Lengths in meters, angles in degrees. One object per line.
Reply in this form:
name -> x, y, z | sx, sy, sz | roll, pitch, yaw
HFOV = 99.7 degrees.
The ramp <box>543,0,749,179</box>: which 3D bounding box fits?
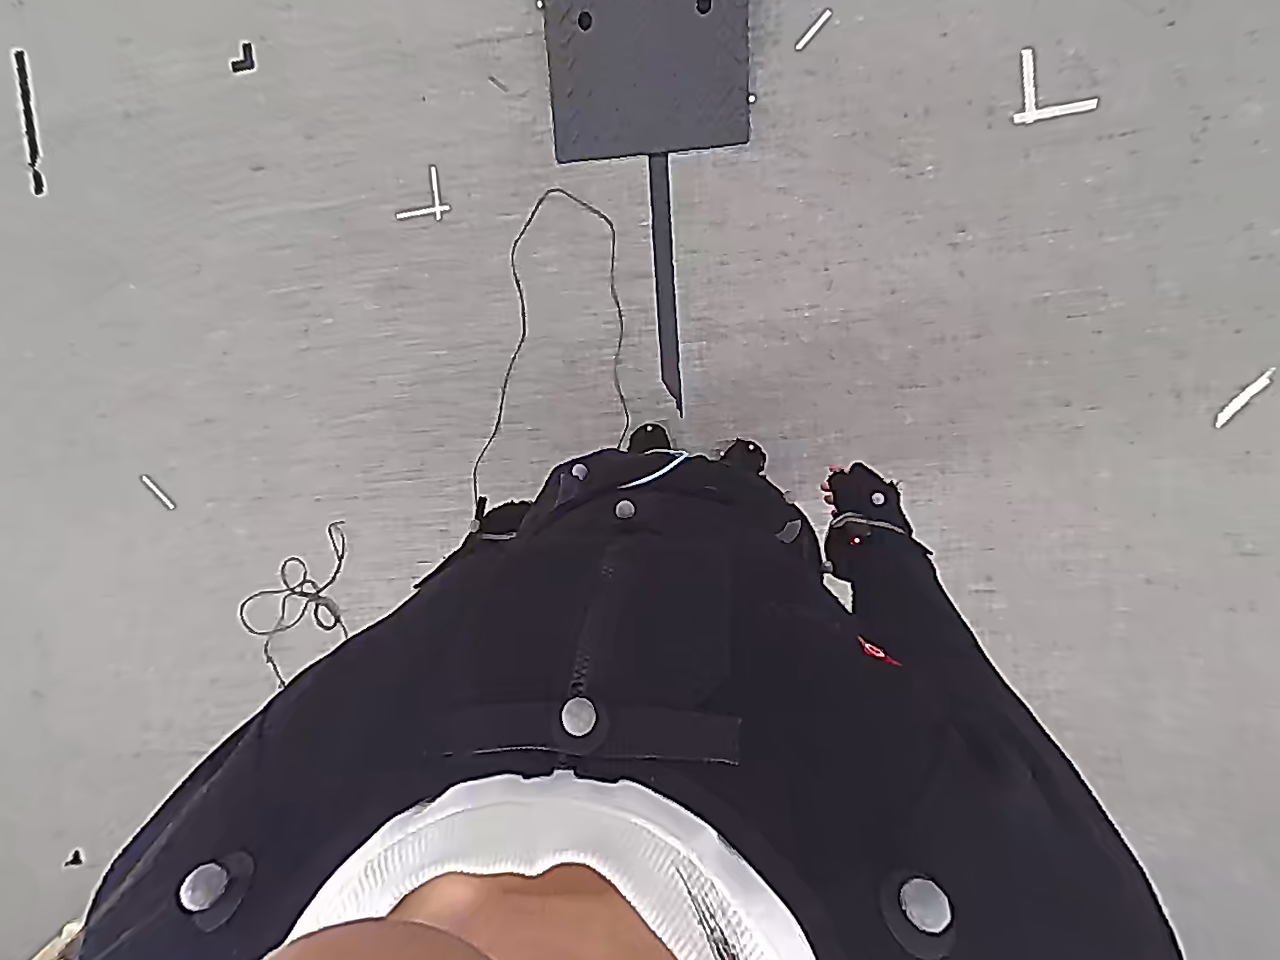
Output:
ramp -> -0.004, -1.288, 1.271 | 0.509, 0.206, 0.991 | -4, 95, 8
